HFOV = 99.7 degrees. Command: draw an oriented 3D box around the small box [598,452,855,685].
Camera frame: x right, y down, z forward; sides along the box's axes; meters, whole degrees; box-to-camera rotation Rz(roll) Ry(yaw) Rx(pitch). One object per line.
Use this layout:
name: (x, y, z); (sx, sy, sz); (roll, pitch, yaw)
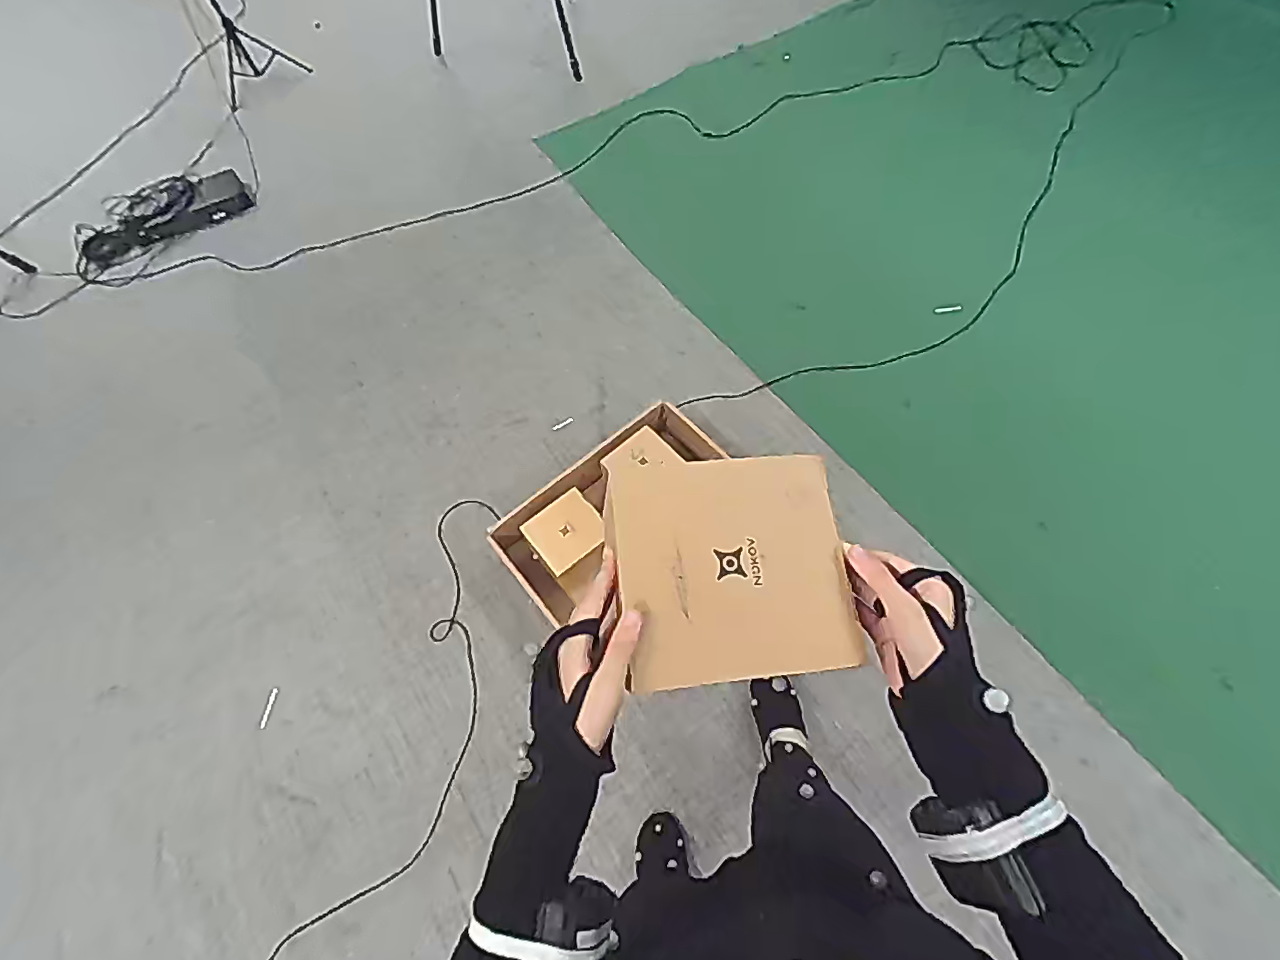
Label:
small box: (0.057, 0.083, 0.482); (0.179, 0.176, 0.168); (-4, 72, -7)

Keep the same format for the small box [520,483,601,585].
small box: (-0.179, 0.146, 1.401); (0.179, 0.176, 0.168); (-38, 69, -15)
